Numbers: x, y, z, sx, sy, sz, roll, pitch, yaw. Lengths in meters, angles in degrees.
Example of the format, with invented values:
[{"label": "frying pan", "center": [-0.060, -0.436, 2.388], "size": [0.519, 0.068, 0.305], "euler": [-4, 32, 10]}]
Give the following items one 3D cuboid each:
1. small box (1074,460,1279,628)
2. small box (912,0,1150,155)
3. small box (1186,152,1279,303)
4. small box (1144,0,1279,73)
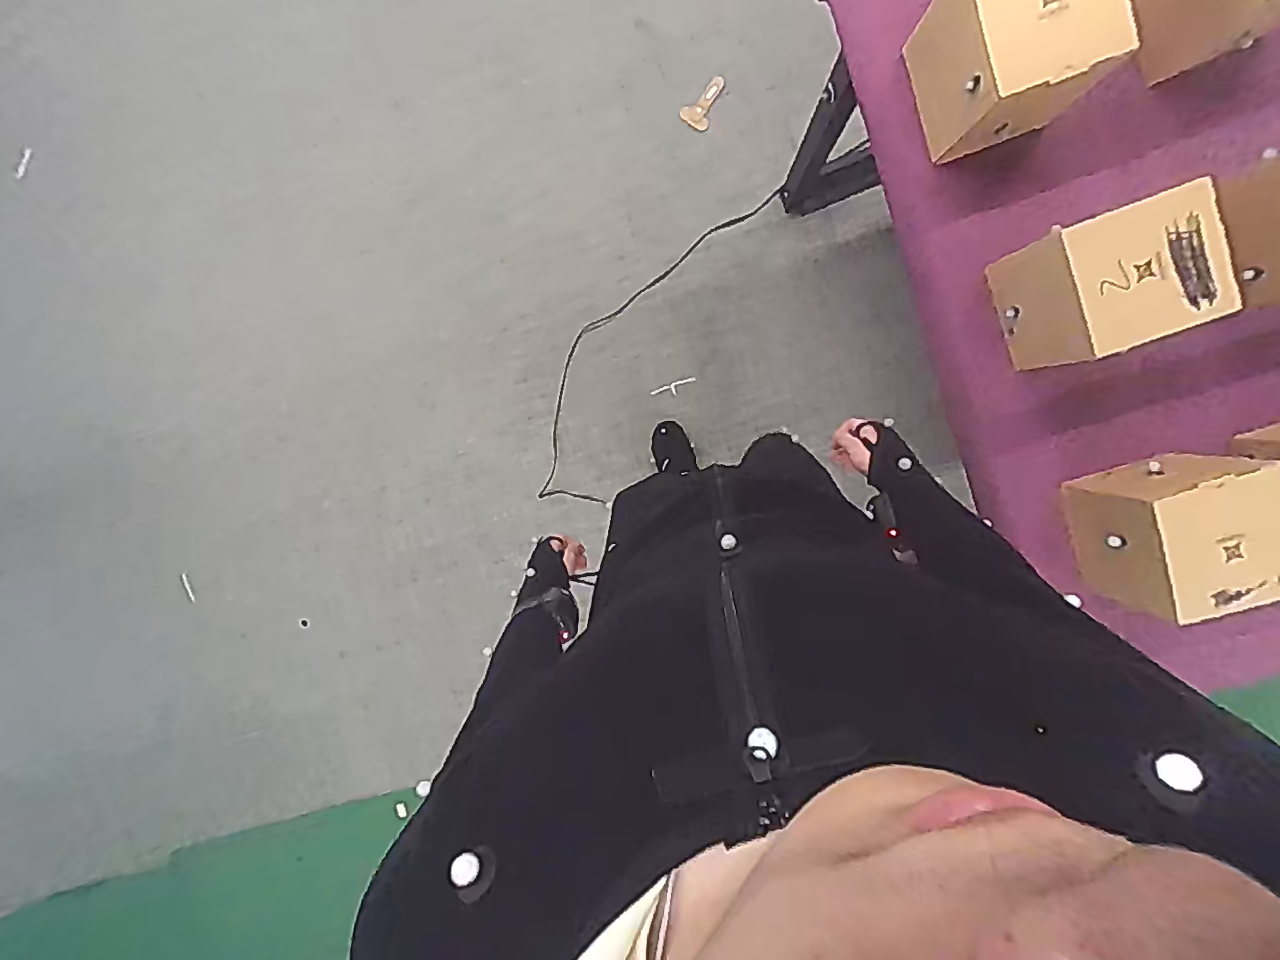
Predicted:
[{"label": "small box", "center": [0.748, 0.075, 0.742], "size": [0.168, 0.176, 0.179], "euler": [-17, 94, 6]}, {"label": "small box", "center": [0.478, -0.562, 0.690], "size": [0.168, 0.176, 0.179], "euler": [-18, 96, 6]}, {"label": "small box", "center": [0.866, -0.339, 0.683], "size": [0.168, 0.176, 0.179], "euler": [-20, 94, 7]}, {"label": "small box", "center": [0.750, -0.655, 0.652], "size": [0.168, 0.176, 0.179], "euler": [-22, 95, 8]}]
